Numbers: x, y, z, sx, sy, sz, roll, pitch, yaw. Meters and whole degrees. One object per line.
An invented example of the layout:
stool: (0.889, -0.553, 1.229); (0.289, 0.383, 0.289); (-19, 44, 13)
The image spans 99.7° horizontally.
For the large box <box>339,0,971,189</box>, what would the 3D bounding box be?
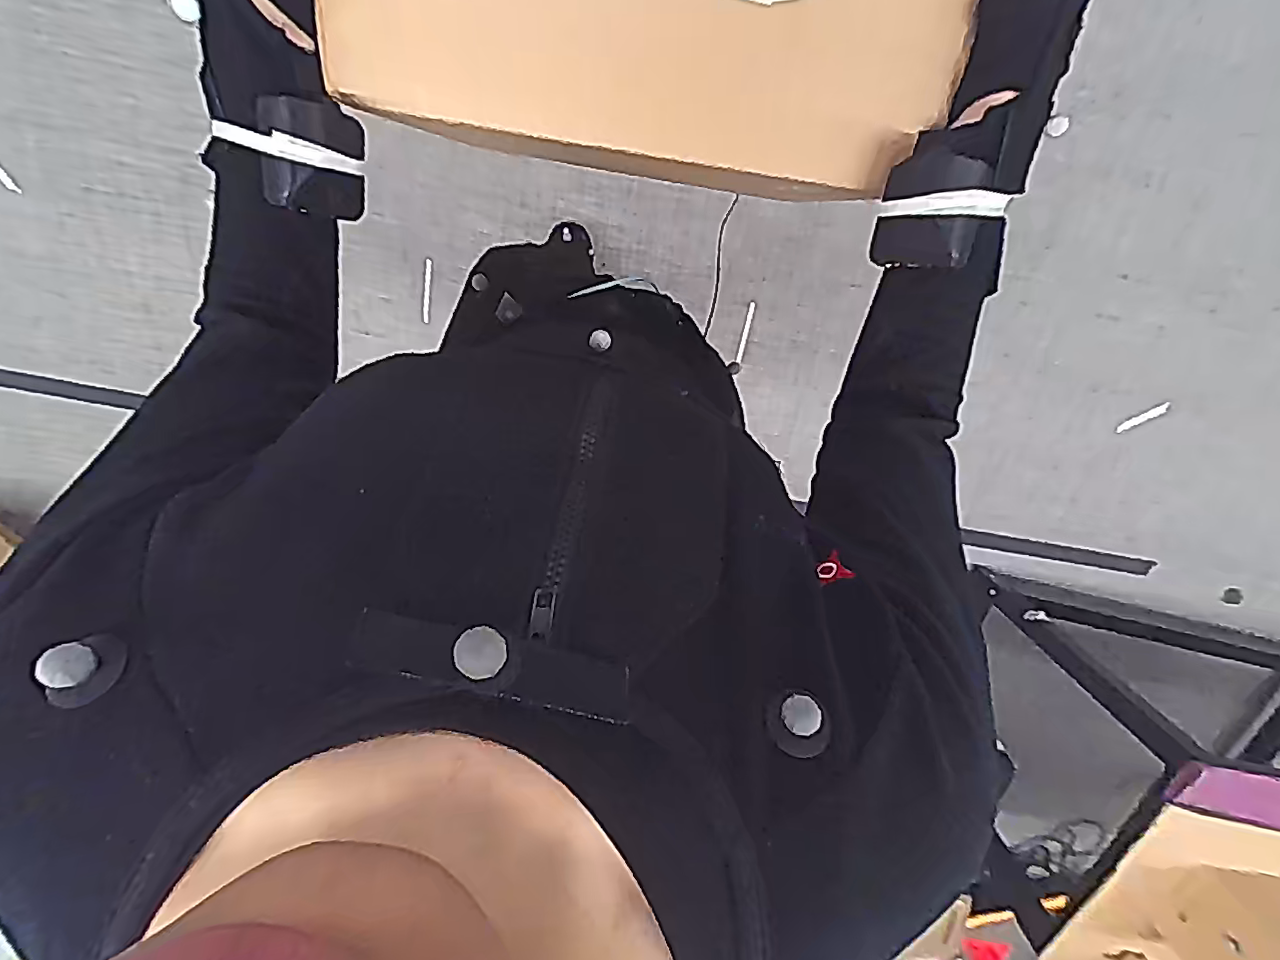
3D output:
large box: (0.018, -0.437, 0.437); (0.408, 0.320, 0.320); (7, 118, -4)
